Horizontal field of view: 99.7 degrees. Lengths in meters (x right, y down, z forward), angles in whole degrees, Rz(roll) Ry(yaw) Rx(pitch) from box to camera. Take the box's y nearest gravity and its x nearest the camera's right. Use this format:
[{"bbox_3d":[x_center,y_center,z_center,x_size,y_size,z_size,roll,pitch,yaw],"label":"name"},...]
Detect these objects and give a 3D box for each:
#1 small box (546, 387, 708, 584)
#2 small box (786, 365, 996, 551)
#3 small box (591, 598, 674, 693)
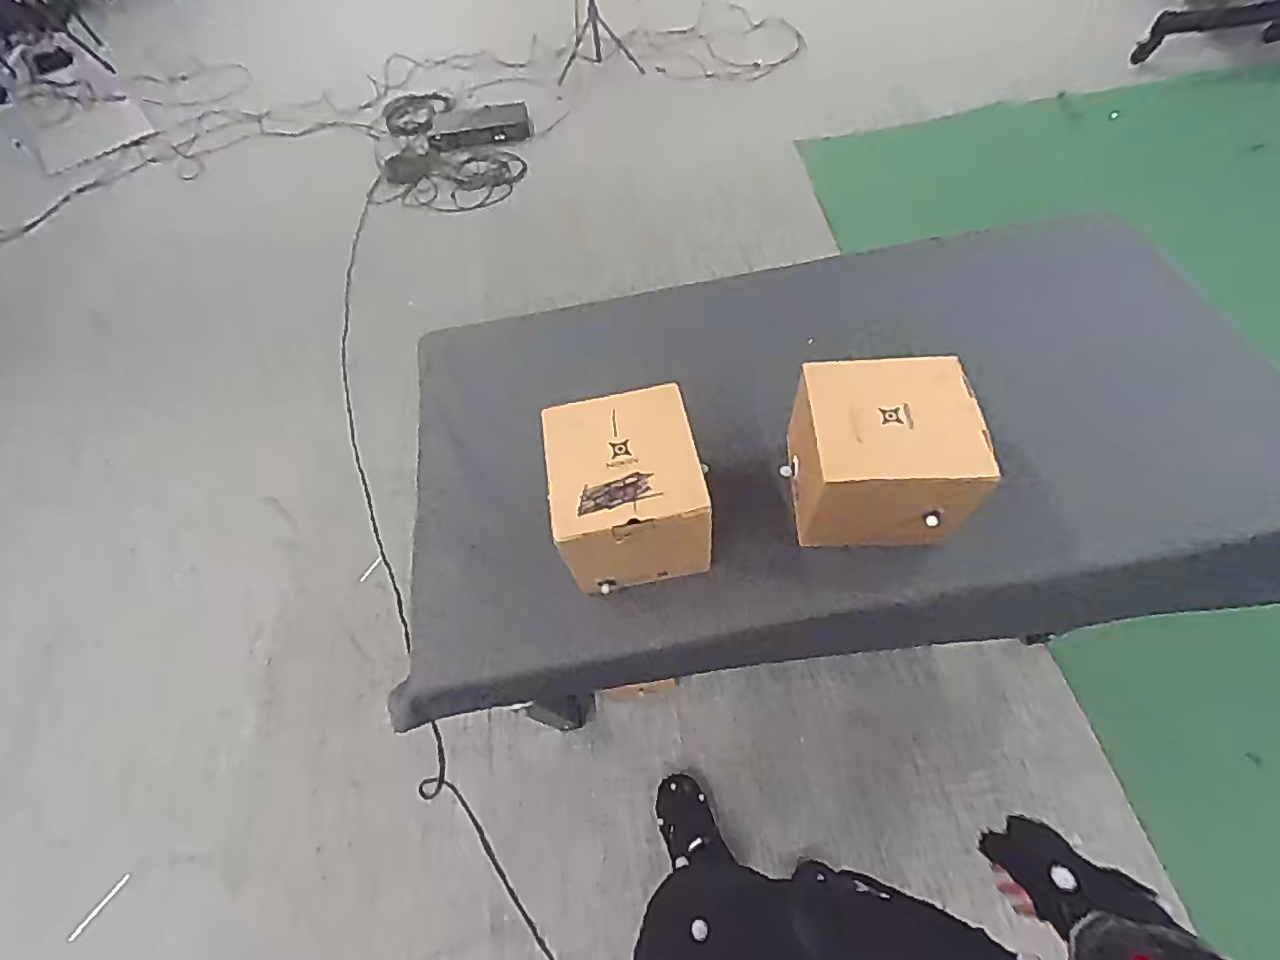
[{"bbox_3d":[-0.012,0.017,0.666,0.168,0.176,0.179,-10,58,0],"label":"small box"},{"bbox_3d":[0.285,-0.020,0.661,0.179,0.176,0.168,-2,59,6],"label":"small box"},{"bbox_3d":[-0.015,0.402,1.292,0.168,0.176,0.179,-10,61,0],"label":"small box"}]
